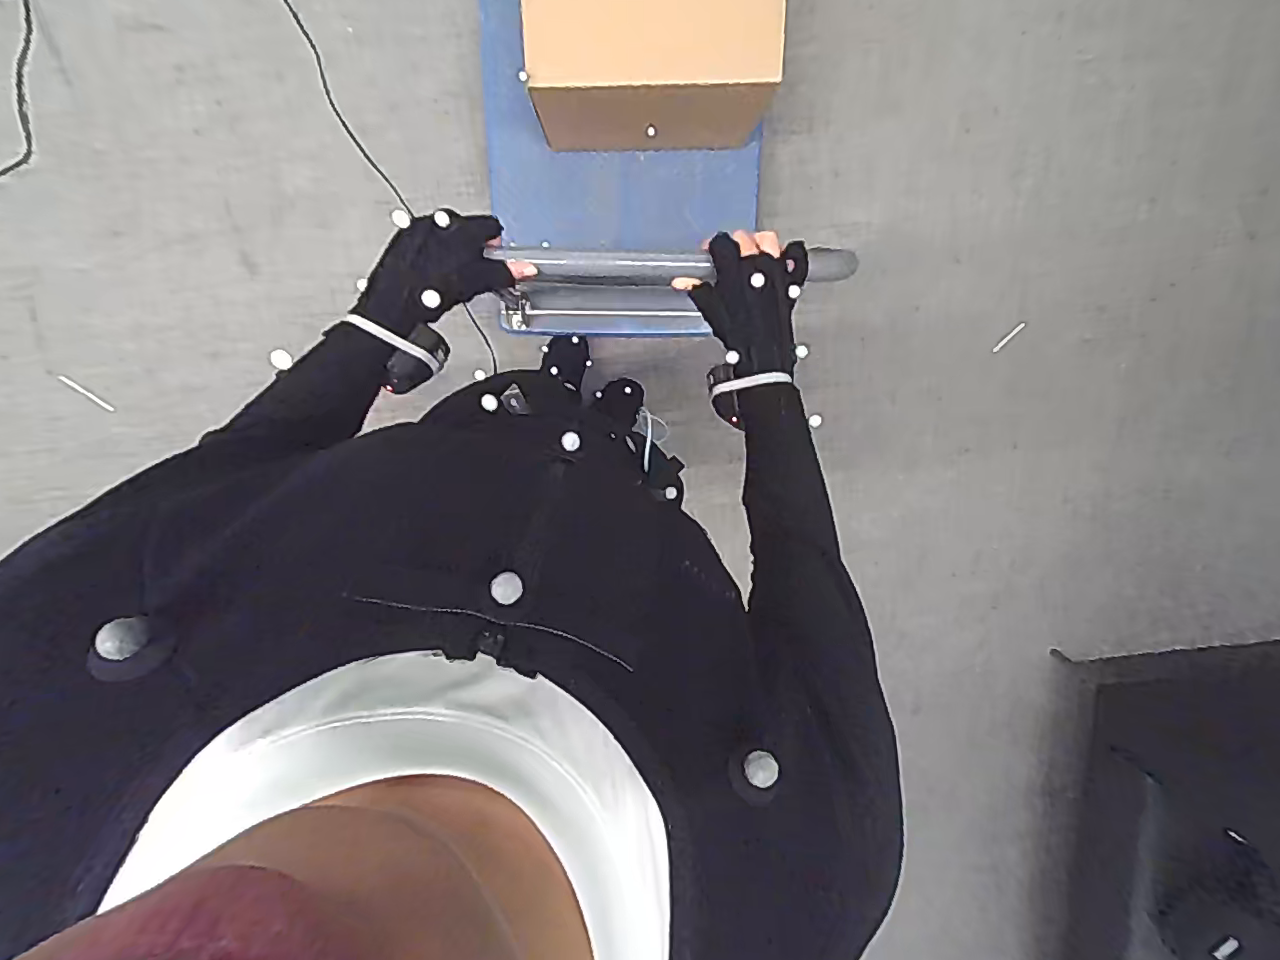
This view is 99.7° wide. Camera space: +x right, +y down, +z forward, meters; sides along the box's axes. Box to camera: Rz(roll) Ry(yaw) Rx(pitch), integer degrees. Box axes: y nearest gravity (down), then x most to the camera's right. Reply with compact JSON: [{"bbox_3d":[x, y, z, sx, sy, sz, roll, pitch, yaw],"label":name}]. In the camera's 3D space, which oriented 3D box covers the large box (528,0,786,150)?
[{"bbox_3d":[0.023,-0.810,0.961,0.408,0.320,0.320,-2,104,-1],"label":"large box"}]
